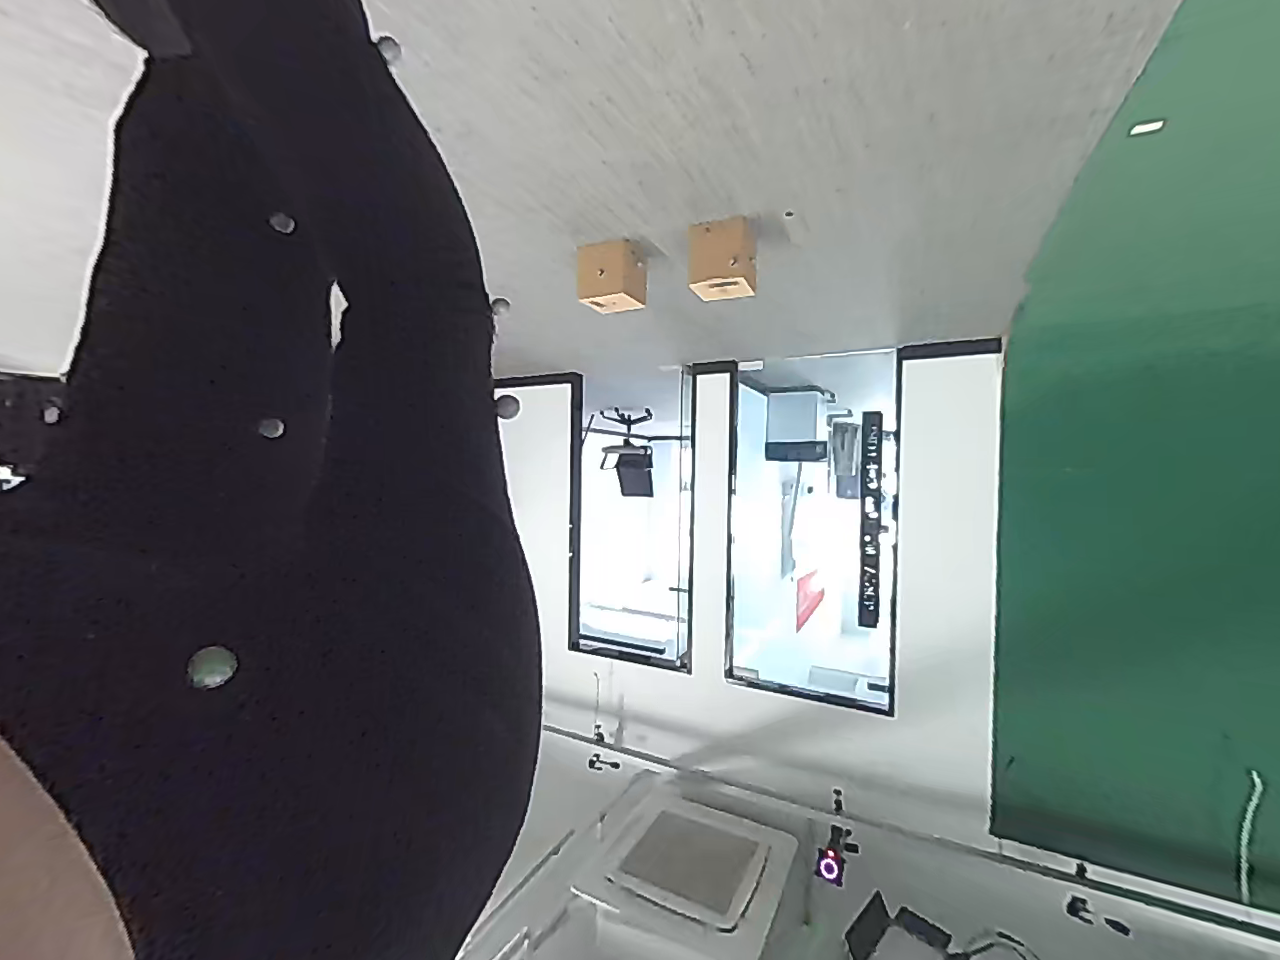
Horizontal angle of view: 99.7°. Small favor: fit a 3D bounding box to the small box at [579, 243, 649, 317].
[{"bbox_3d":[-0.079,-0.641,1.743,0.179,0.176,0.168,0,-179,28],"label":"small box"}]
